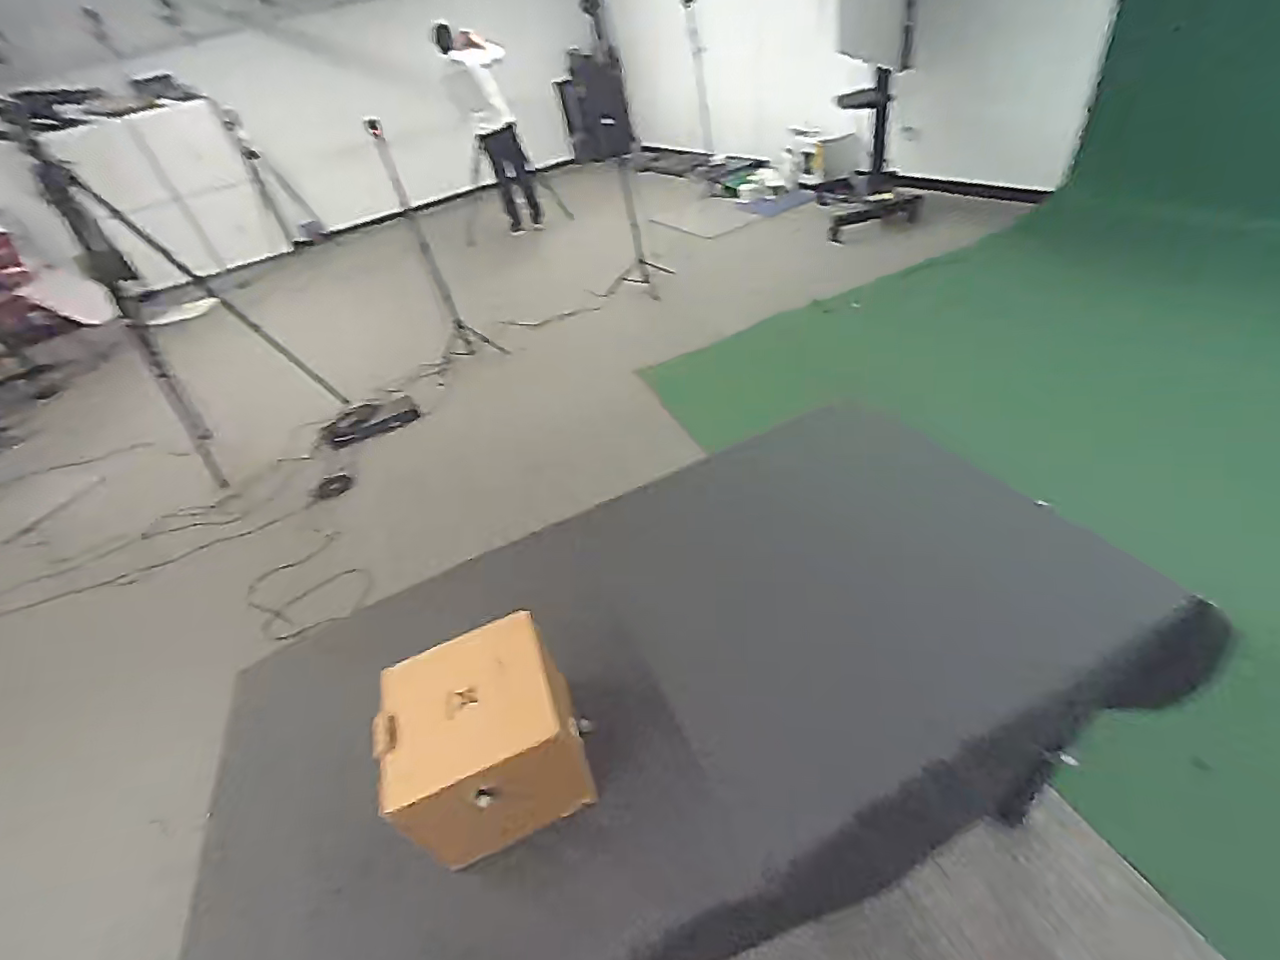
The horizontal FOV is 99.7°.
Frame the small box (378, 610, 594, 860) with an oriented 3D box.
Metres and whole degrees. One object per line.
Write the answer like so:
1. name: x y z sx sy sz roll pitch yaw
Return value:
1. small box: -0.171 0.288 0.614 0.179 0.176 0.168 -21 40 -10
